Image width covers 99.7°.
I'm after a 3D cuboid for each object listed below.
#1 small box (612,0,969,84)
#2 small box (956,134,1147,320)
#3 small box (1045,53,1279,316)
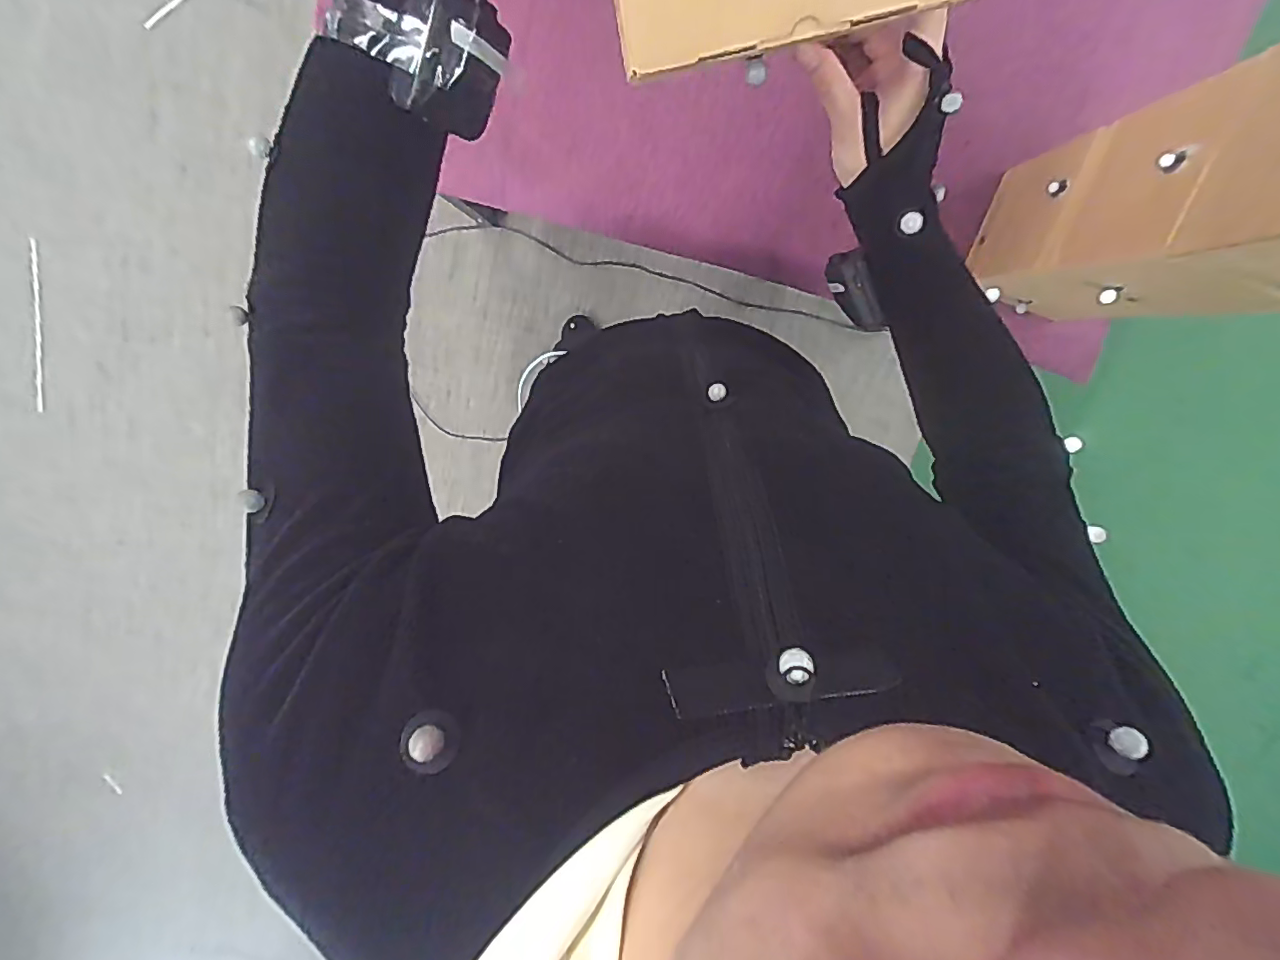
[{"bbox_3d":[0.058,-0.325,0.275,0.168,0.176,0.179,-9,125,5],"label":"small box"},{"bbox_3d":[0.581,-0.323,0.731,0.179,0.176,0.168,18,102,-5],"label":"small box"},{"bbox_3d":[0.587,-0.286,0.571,0.168,0.176,0.179,18,103,-4],"label":"small box"}]
